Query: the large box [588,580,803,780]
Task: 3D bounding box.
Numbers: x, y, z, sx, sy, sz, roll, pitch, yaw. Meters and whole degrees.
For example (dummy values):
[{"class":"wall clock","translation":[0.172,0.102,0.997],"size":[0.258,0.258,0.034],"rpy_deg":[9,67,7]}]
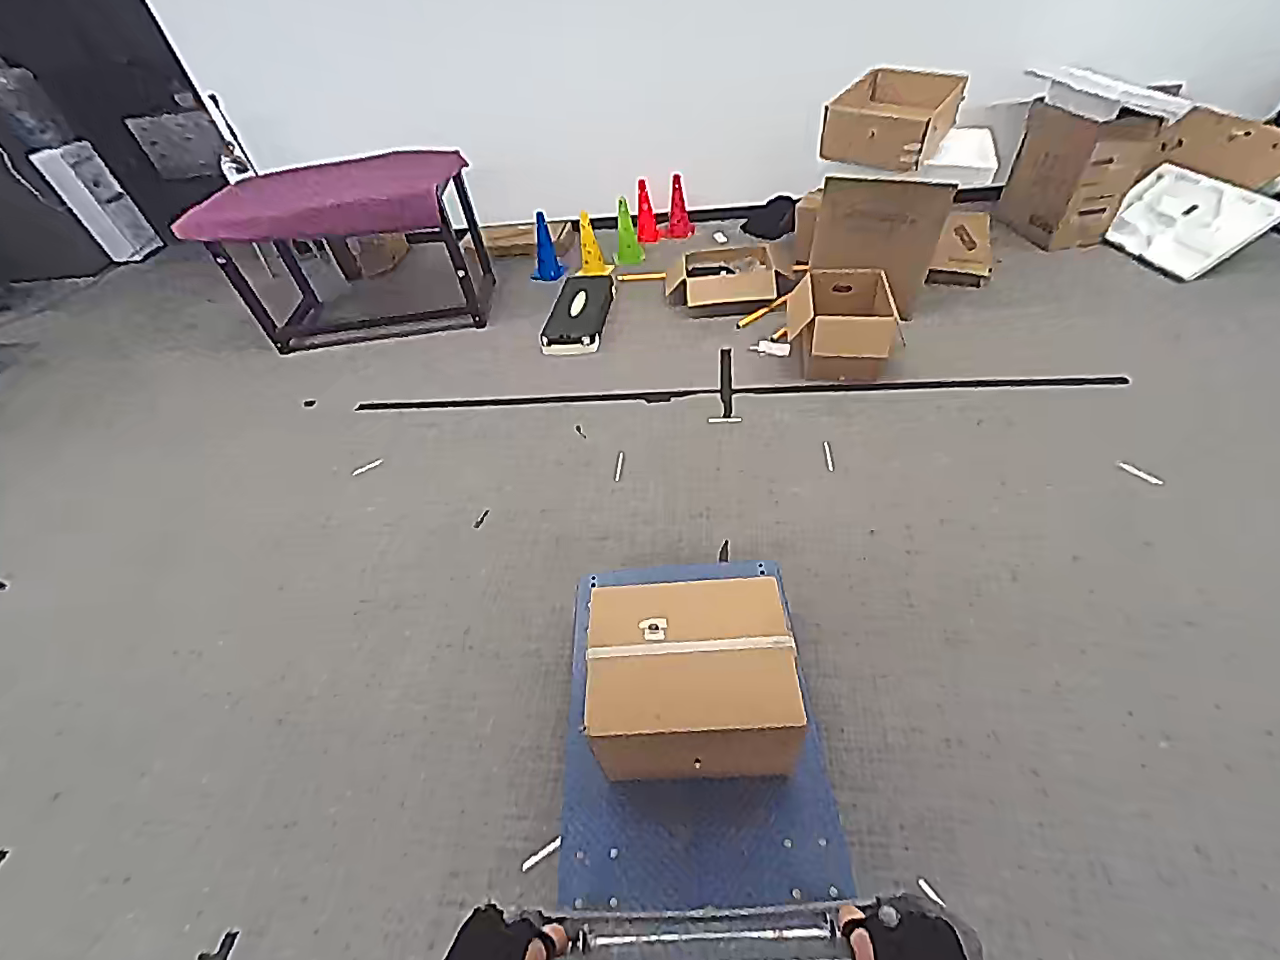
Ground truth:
[{"class":"large box","translation":[0.114,0.449,1.198],"size":[0.408,0.320,0.320],"rpy_deg":[-6,46,4]}]
